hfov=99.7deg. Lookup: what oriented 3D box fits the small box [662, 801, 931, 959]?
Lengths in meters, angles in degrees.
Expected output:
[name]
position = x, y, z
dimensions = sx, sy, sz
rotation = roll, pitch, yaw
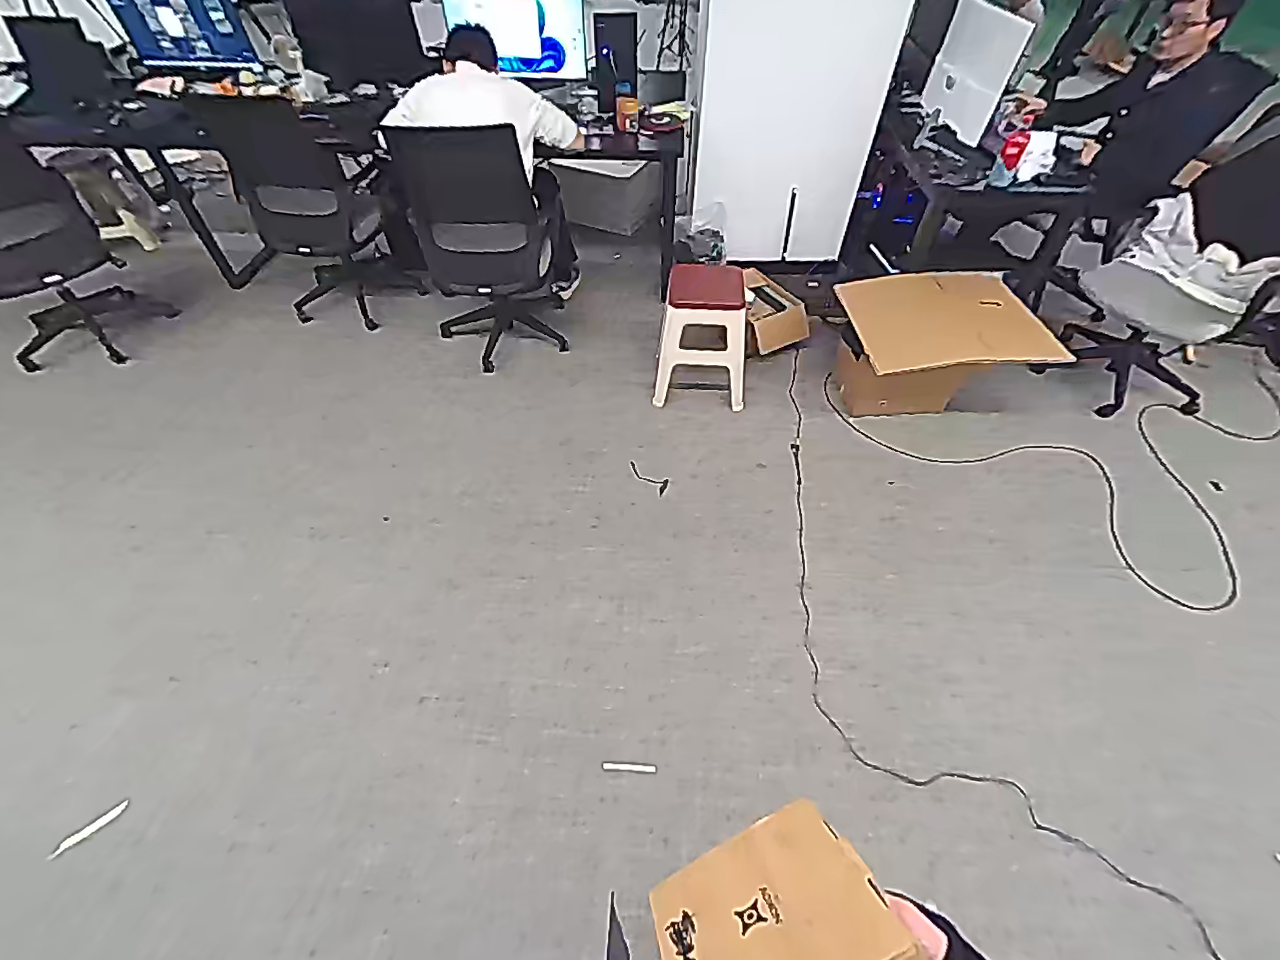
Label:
[small box]
position = 0.141, 0.427, 0.451
dimensions = 0.179, 0.168, 0.176
rotation = -25, 94, -7
